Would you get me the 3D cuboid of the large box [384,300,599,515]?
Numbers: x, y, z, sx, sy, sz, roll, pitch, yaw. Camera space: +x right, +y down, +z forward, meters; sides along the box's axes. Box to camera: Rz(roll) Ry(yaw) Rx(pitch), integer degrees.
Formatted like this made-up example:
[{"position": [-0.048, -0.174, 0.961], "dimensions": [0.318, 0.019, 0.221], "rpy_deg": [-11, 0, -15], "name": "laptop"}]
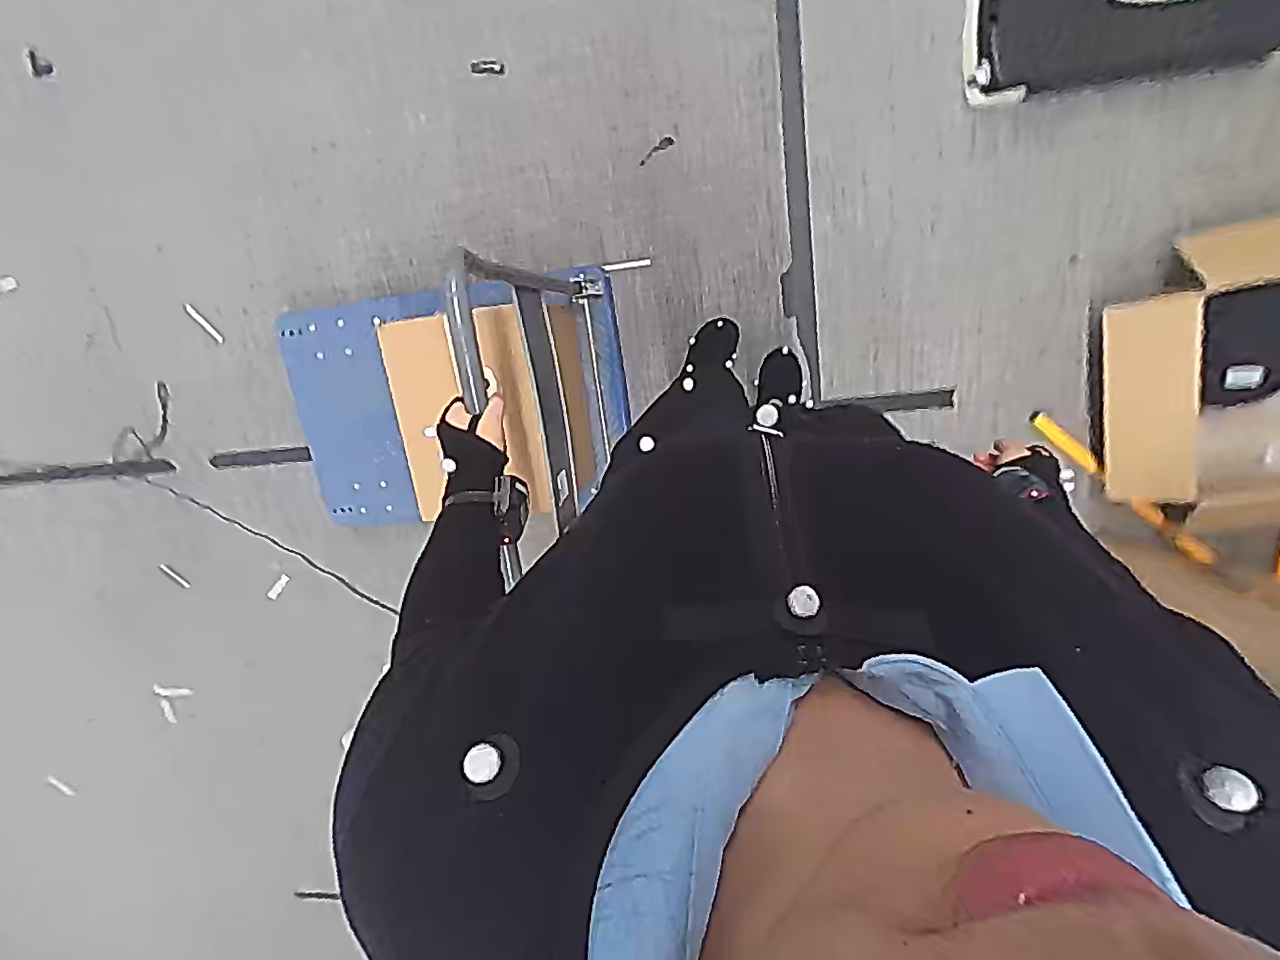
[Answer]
[{"position": [-0.298, -0.165, 1.205], "dimensions": [0.320, 0.320, 0.408], "rpy_deg": [-5, 104, 9], "name": "large box"}]
